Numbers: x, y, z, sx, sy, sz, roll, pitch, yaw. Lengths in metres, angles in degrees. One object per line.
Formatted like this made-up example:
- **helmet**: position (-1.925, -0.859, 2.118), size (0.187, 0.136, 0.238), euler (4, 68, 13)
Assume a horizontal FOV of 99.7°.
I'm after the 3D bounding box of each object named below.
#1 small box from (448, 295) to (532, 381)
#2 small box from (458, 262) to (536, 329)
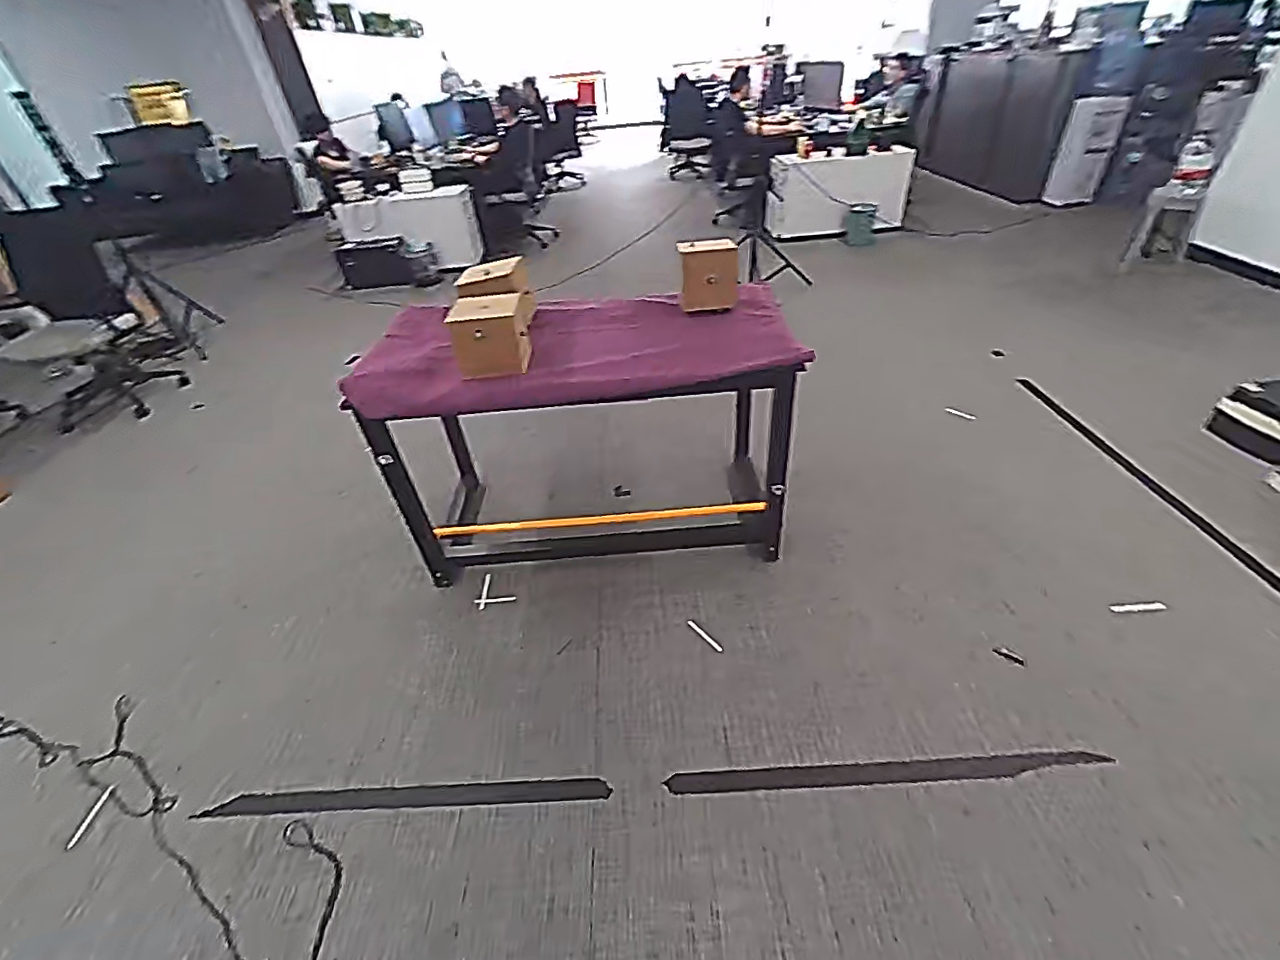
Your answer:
- **small box**: position (-0.399, -0.386, 1.475), size (0.179, 0.176, 0.168), euler (-6, 38, 0)
- **small box**: position (-0.434, -0.564, 1.682), size (0.179, 0.168, 0.176), euler (-9, 37, 8)
